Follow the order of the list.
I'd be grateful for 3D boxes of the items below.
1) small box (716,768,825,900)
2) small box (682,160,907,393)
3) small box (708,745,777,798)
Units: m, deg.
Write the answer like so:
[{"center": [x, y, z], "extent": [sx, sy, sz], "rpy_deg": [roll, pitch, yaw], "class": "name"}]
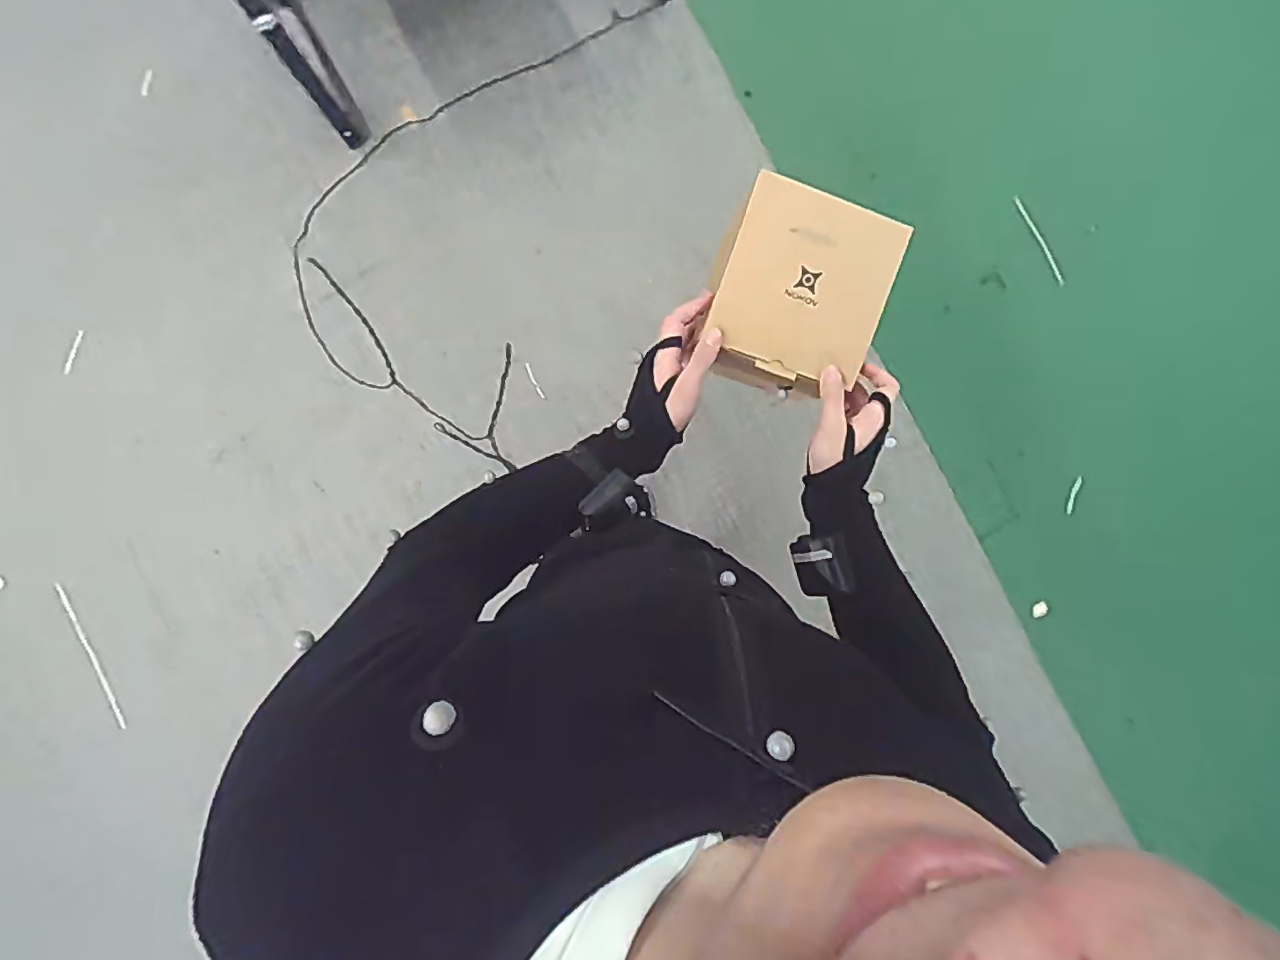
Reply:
[{"center": [0.302, 0.828, 1.287], "extent": [0.179, 0.176, 0.168], "rpy_deg": [-27, 86, -3], "class": "small box"}, {"center": [0.153, -0.205, 0.605], "extent": [0.168, 0.176, 0.179], "rpy_deg": [19, 94, -5], "class": "small box"}, {"center": [0.296, 0.843, 1.452], "extent": [0.168, 0.176, 0.179], "rpy_deg": [-23, 87, -4], "class": "small box"}]
